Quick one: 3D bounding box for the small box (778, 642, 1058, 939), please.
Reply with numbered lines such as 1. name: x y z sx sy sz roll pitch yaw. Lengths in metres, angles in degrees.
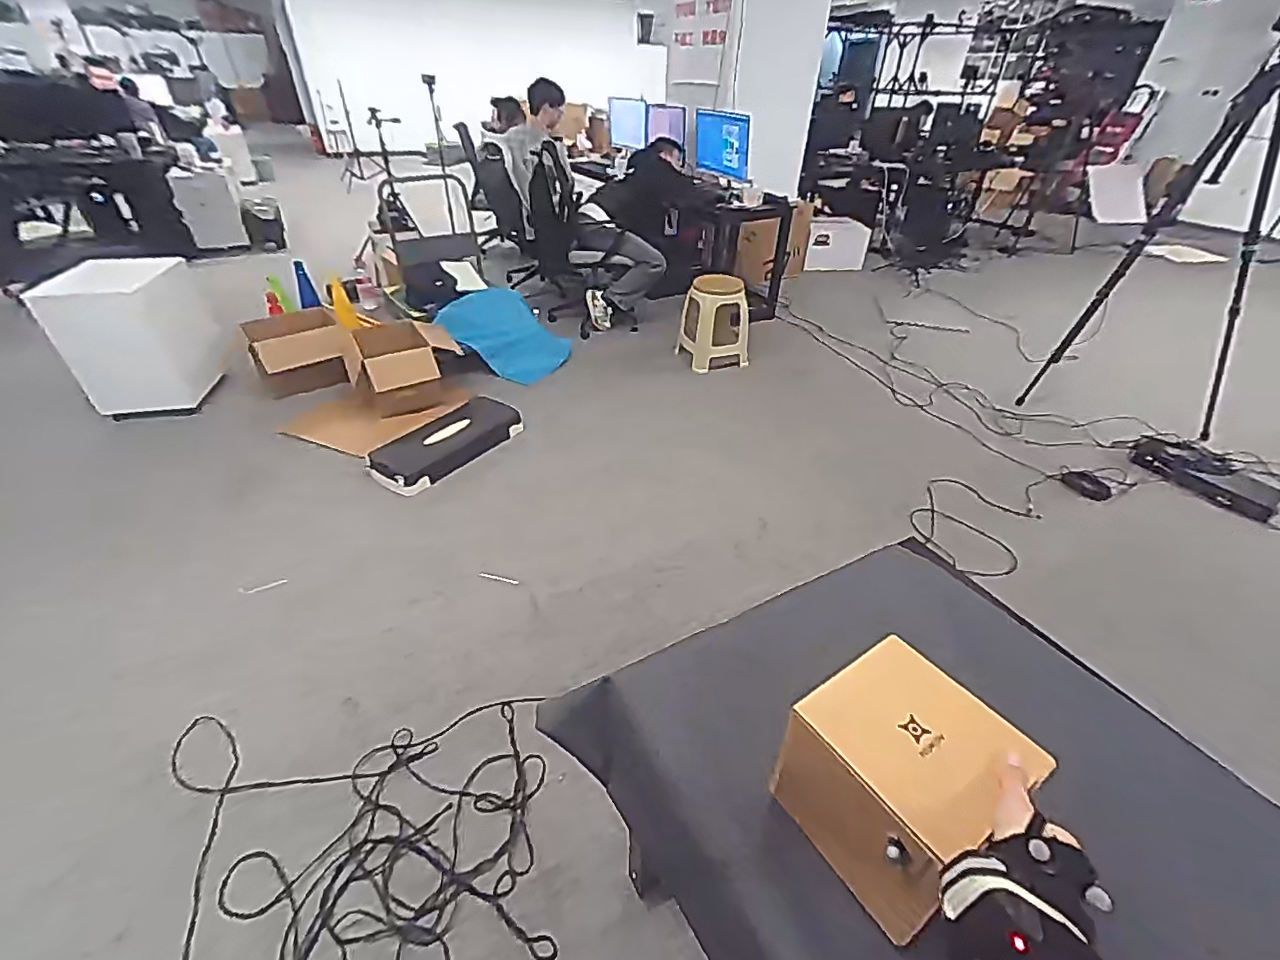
1. small box: 0.267 0.312 0.561 0.168 0.176 0.179 -20 40 -27
